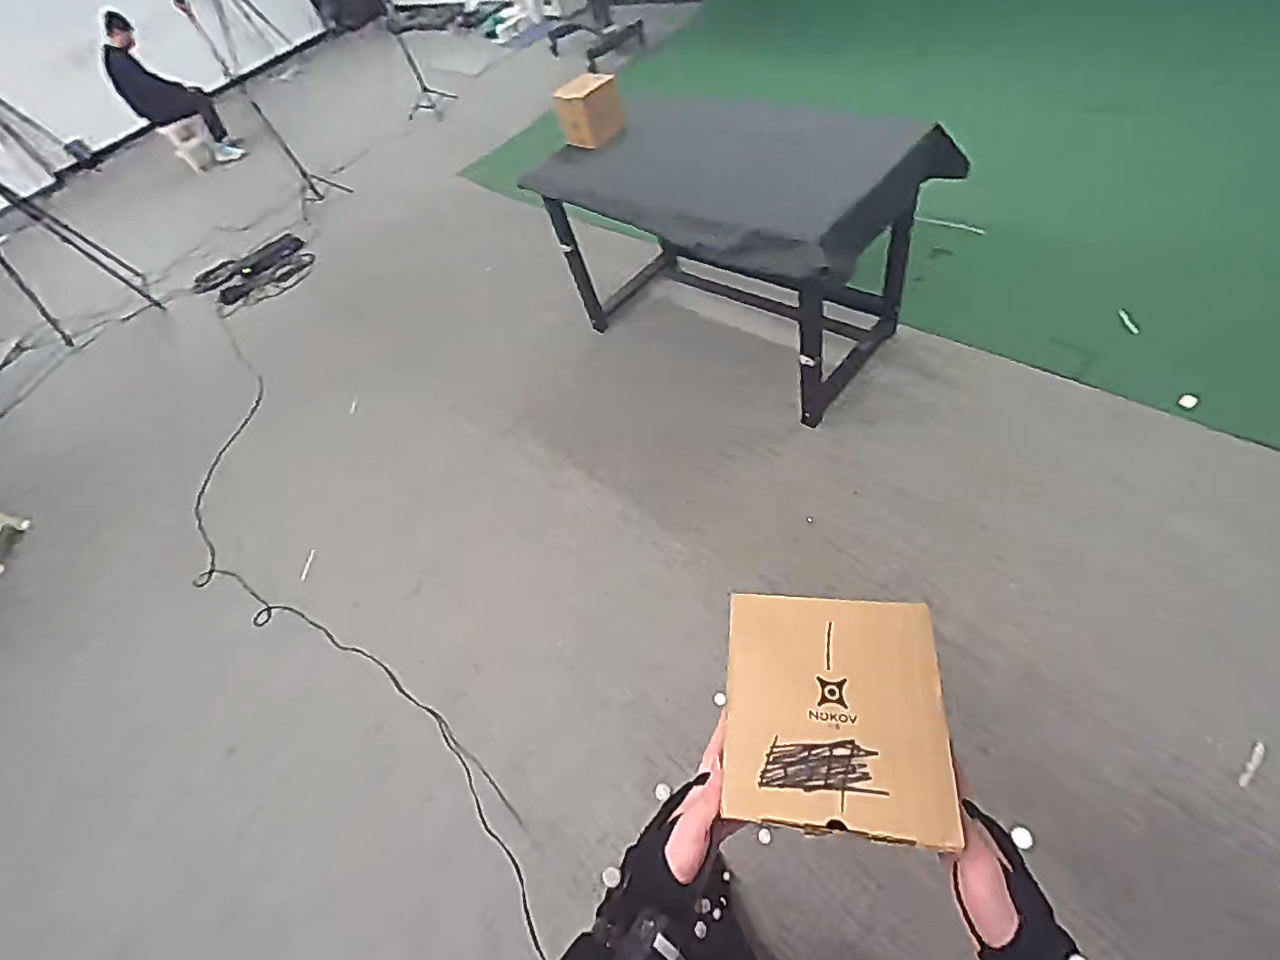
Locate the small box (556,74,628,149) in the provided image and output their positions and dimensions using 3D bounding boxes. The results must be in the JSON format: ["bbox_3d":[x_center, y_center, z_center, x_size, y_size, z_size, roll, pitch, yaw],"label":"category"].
[{"bbox_3d":[-0.167,-1.339,1.970,0.168,0.176,0.179,34,71,32],"label":"small box"}]

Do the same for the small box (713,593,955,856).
[{"bbox_3d":[0.161,0.218,0.488,0.168,0.176,0.179,1,57,14],"label":"small box"}]
